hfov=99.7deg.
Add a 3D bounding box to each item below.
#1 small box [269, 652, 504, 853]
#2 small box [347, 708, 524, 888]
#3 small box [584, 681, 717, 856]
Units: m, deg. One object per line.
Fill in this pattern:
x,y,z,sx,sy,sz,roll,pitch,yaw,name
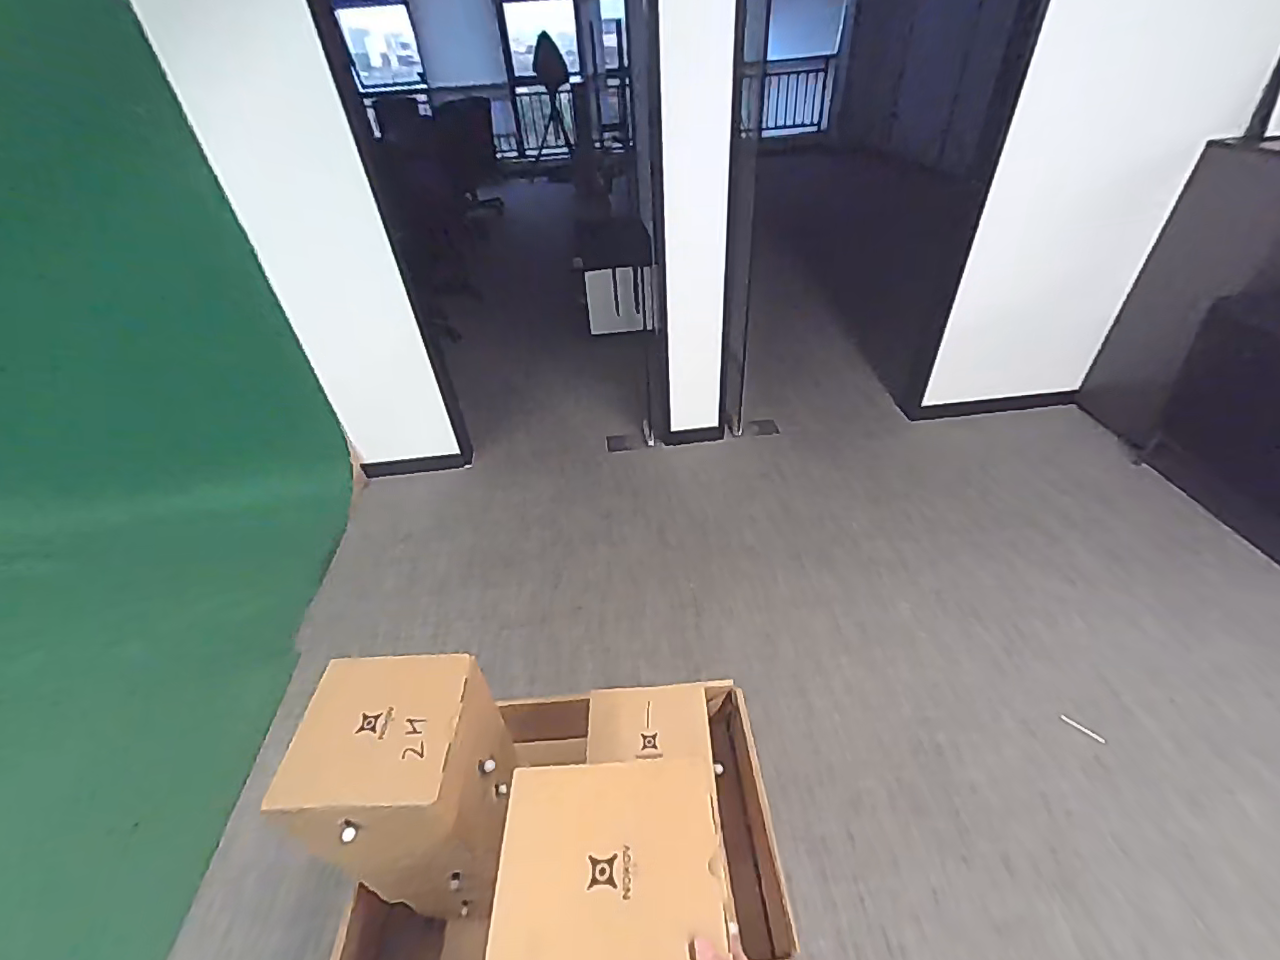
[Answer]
-0.278,0.325,0.643,0.179,0.176,0.168,-2,40,2,small box
-0.266,0.446,0.754,0.168,0.176,0.179,-4,39,0,small box
0.019,0.410,0.764,0.168,0.176,0.179,-4,39,2,small box
